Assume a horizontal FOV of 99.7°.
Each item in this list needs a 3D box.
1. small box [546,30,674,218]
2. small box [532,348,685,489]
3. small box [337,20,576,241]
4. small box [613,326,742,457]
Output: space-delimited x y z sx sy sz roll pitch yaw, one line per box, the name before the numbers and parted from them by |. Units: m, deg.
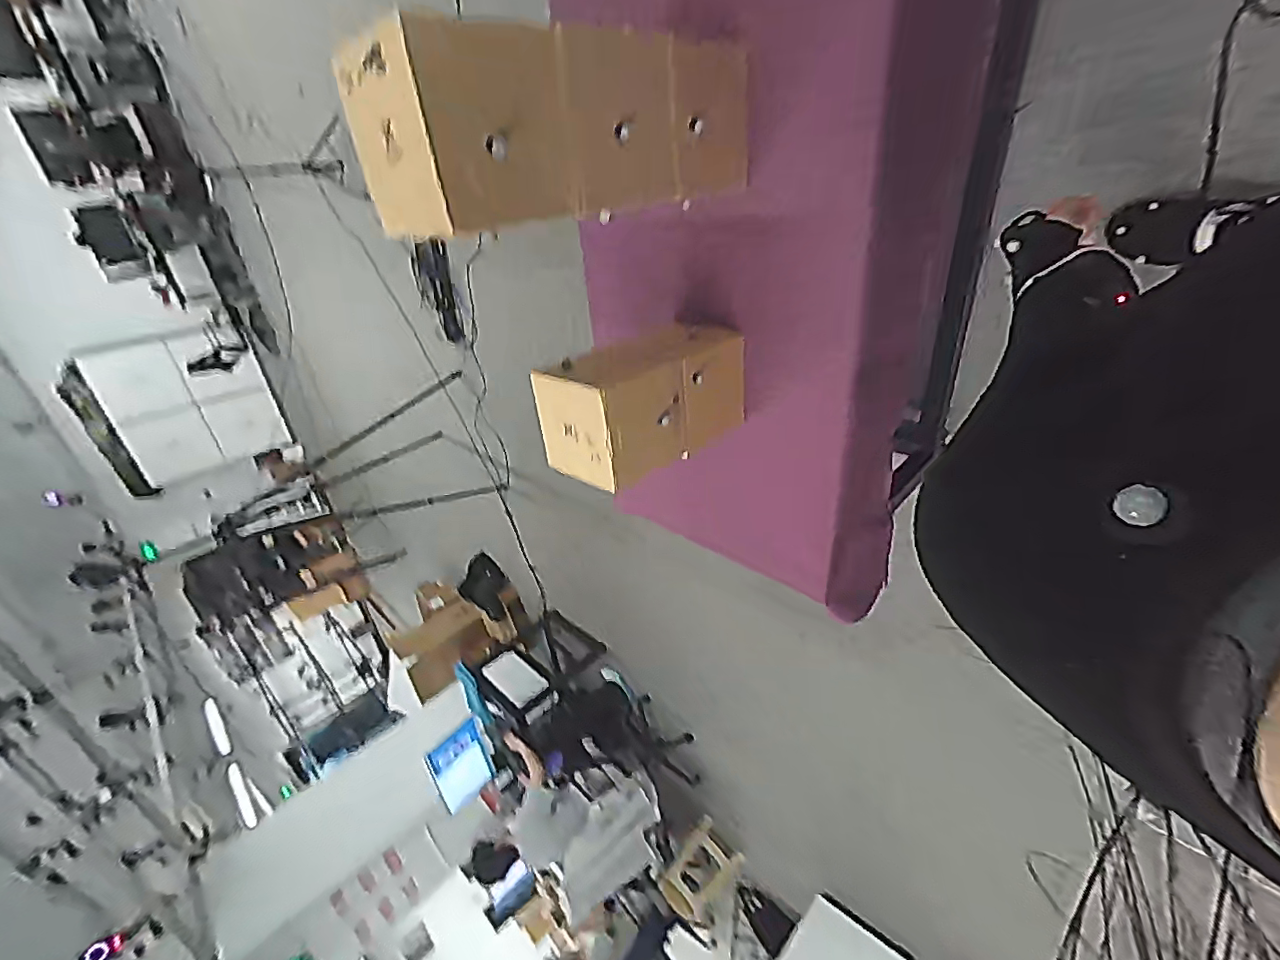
small box | -0.073 -0.439 0.690 0.168 0.176 0.179 21 130 40
small box | -0.048 -0.110 0.883 0.179 0.176 0.168 21 129 41
small box | -0.189 -0.372 0.594 0.168 0.176 0.179 20 129 40
small box | 0.072 -0.168 0.982 0.168 0.176 0.179 21 128 41
